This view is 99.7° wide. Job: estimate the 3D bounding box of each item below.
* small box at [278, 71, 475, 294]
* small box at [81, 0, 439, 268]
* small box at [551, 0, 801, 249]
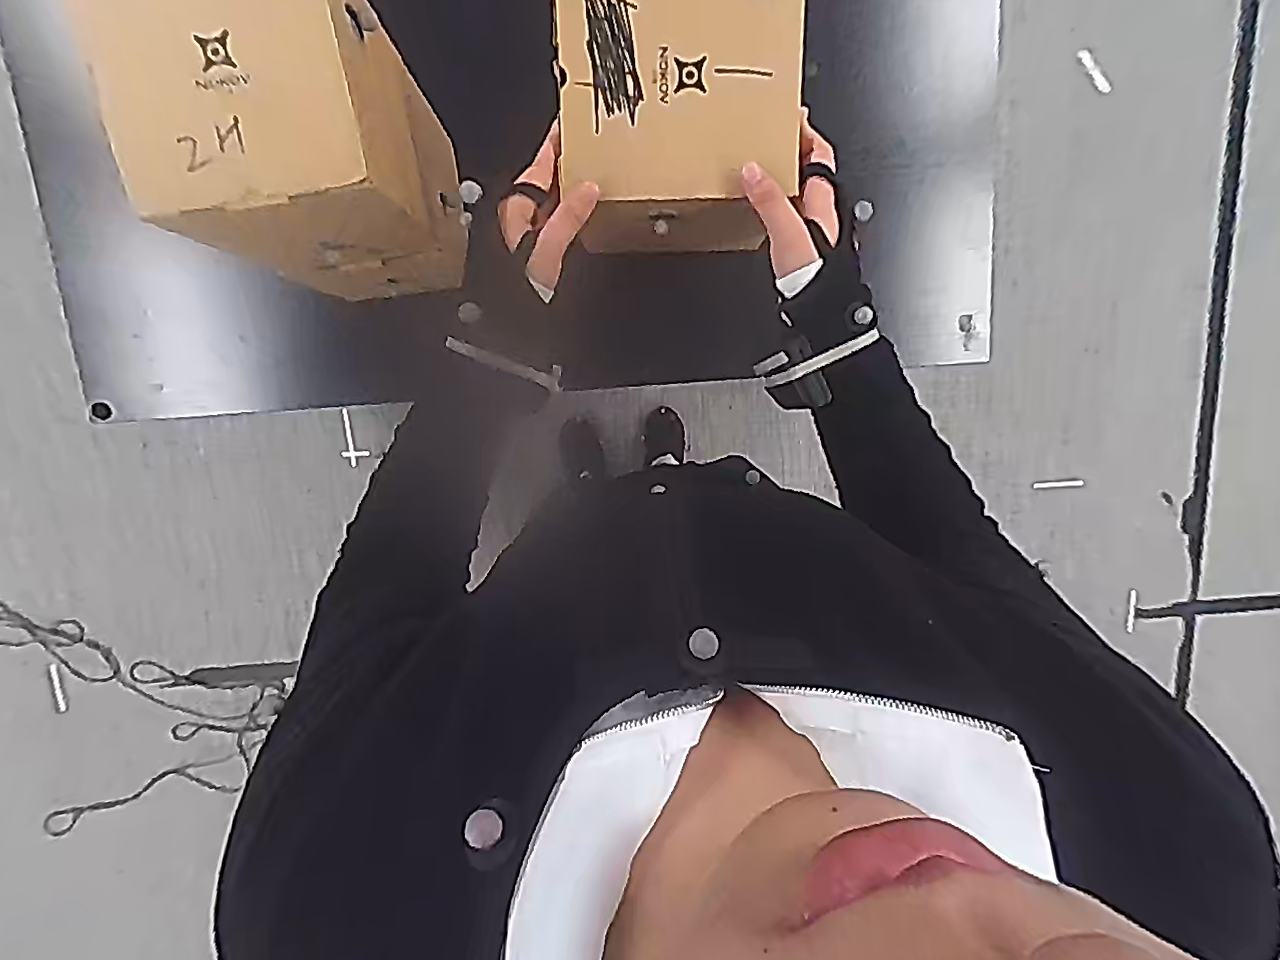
[{"bbox_3d":[-0.299,-0.317,0.614,0.168,0.176,0.179,-9,100,-2],"label":"small box"},{"bbox_3d":[-0.288,-0.296,0.449,0.168,0.176,0.179,-10,99,-1],"label":"small box"},{"bbox_3d":[0.028,-0.302,0.461,0.179,0.176,0.168,0,100,1],"label":"small box"}]
